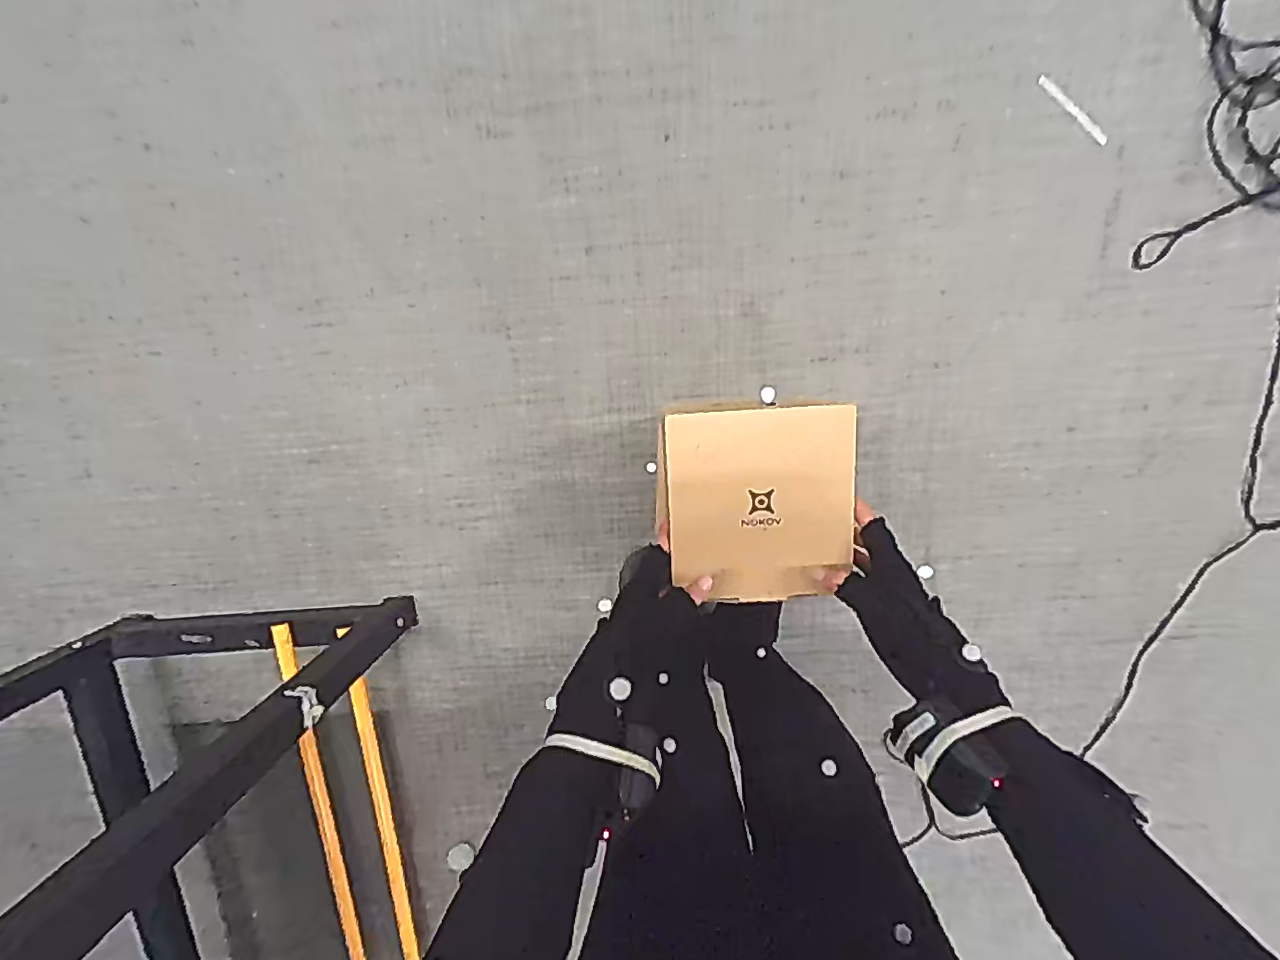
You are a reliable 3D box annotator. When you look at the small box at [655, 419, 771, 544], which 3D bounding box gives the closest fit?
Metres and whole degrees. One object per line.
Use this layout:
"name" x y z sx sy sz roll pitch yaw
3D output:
"small box" 0.109 -0.006 0.875 0.168 0.176 0.179 2 101 3
